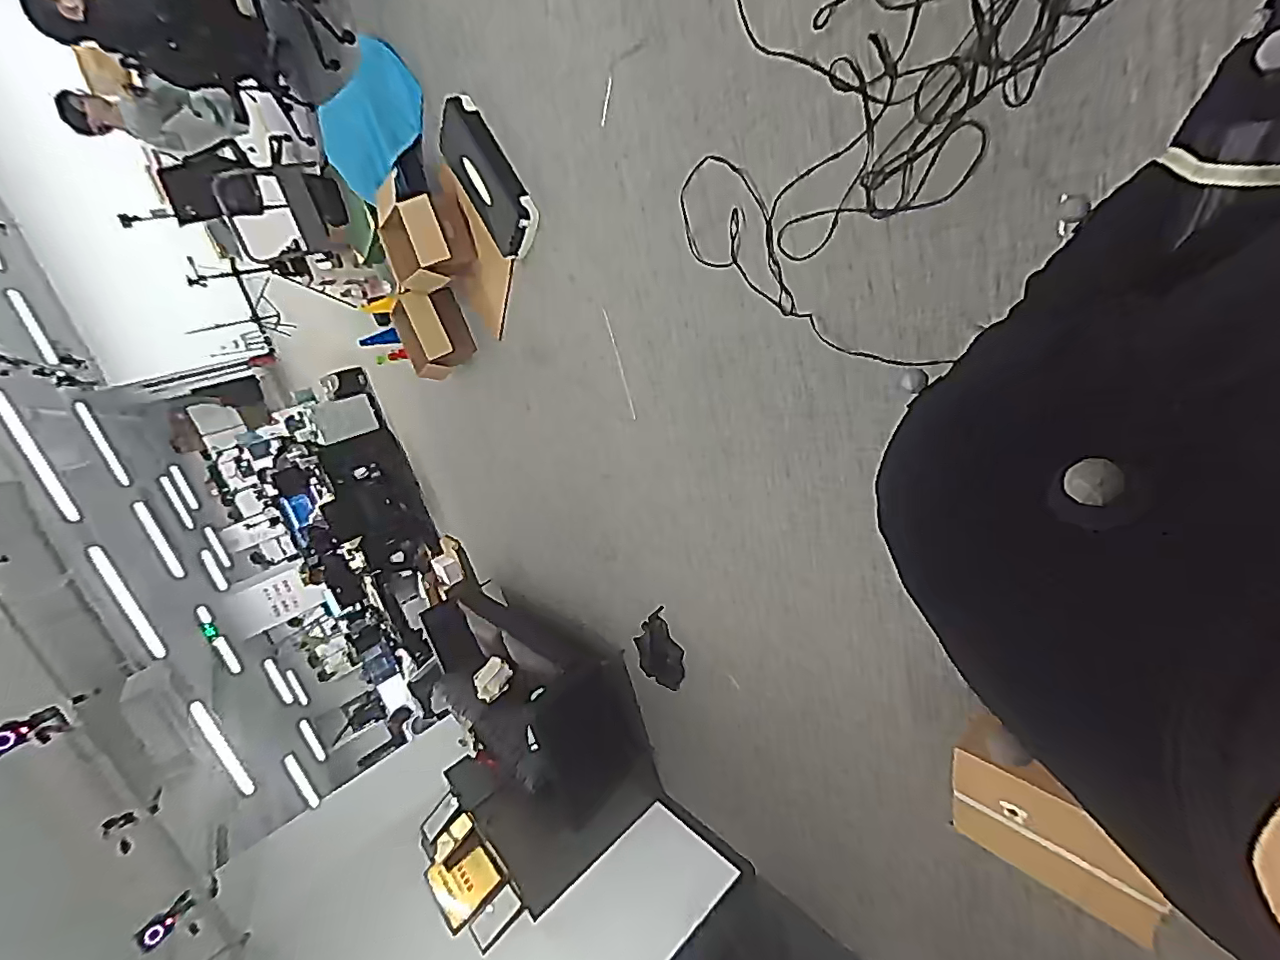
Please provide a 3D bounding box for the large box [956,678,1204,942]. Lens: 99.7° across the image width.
[{"bbox_3d":[1.063,0.772,1.335,0.408,0.320,0.320,16,125,50],"label":"large box"}]
